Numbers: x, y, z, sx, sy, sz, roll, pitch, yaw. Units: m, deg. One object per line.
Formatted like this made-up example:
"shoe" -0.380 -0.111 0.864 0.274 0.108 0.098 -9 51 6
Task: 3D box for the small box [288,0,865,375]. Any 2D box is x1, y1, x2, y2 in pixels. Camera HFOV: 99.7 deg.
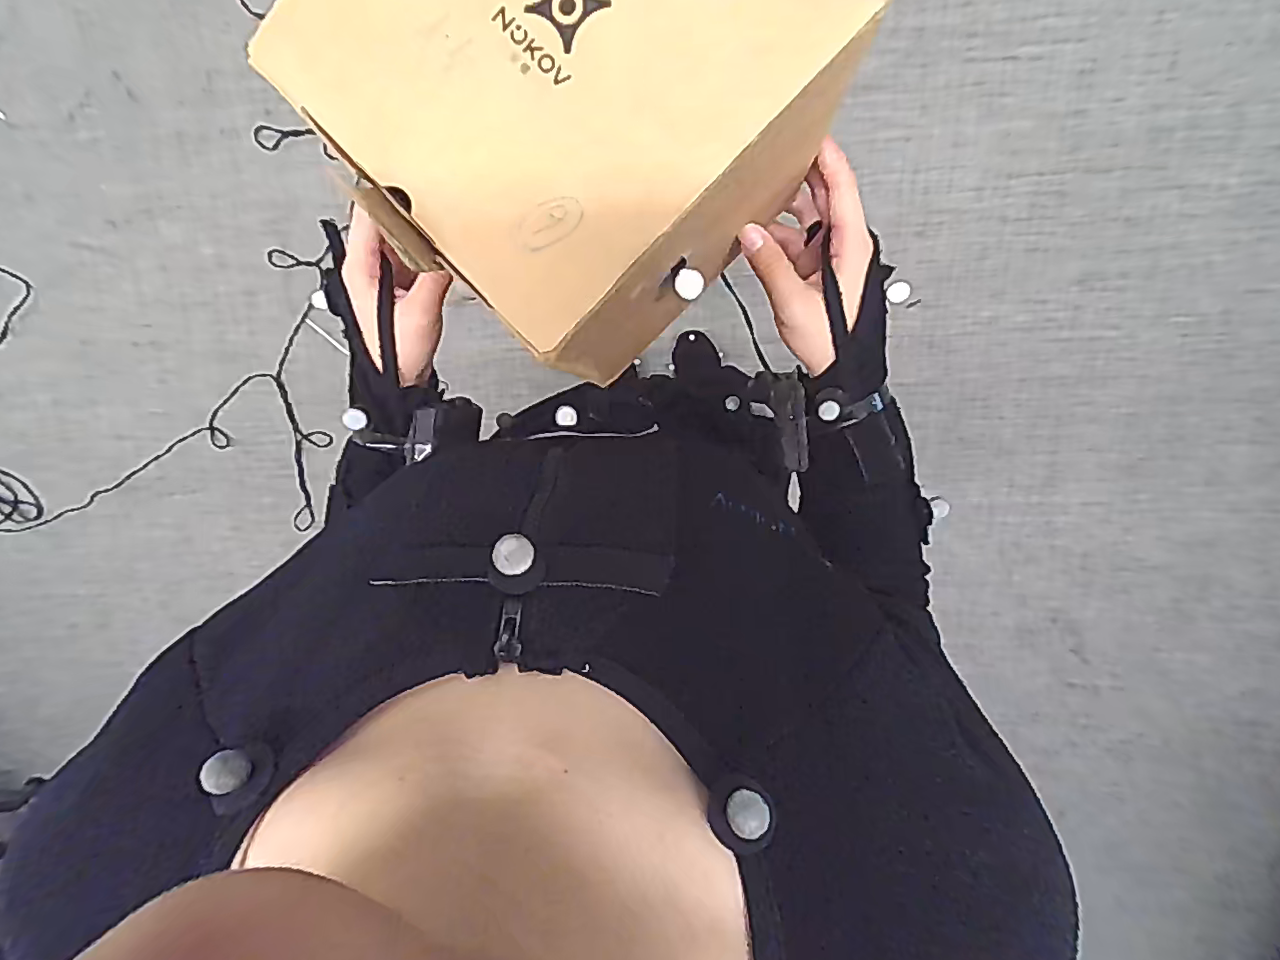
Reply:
"small box" -0.022 -0.173 0.289 0.168 0.176 0.179 45 99 -2
